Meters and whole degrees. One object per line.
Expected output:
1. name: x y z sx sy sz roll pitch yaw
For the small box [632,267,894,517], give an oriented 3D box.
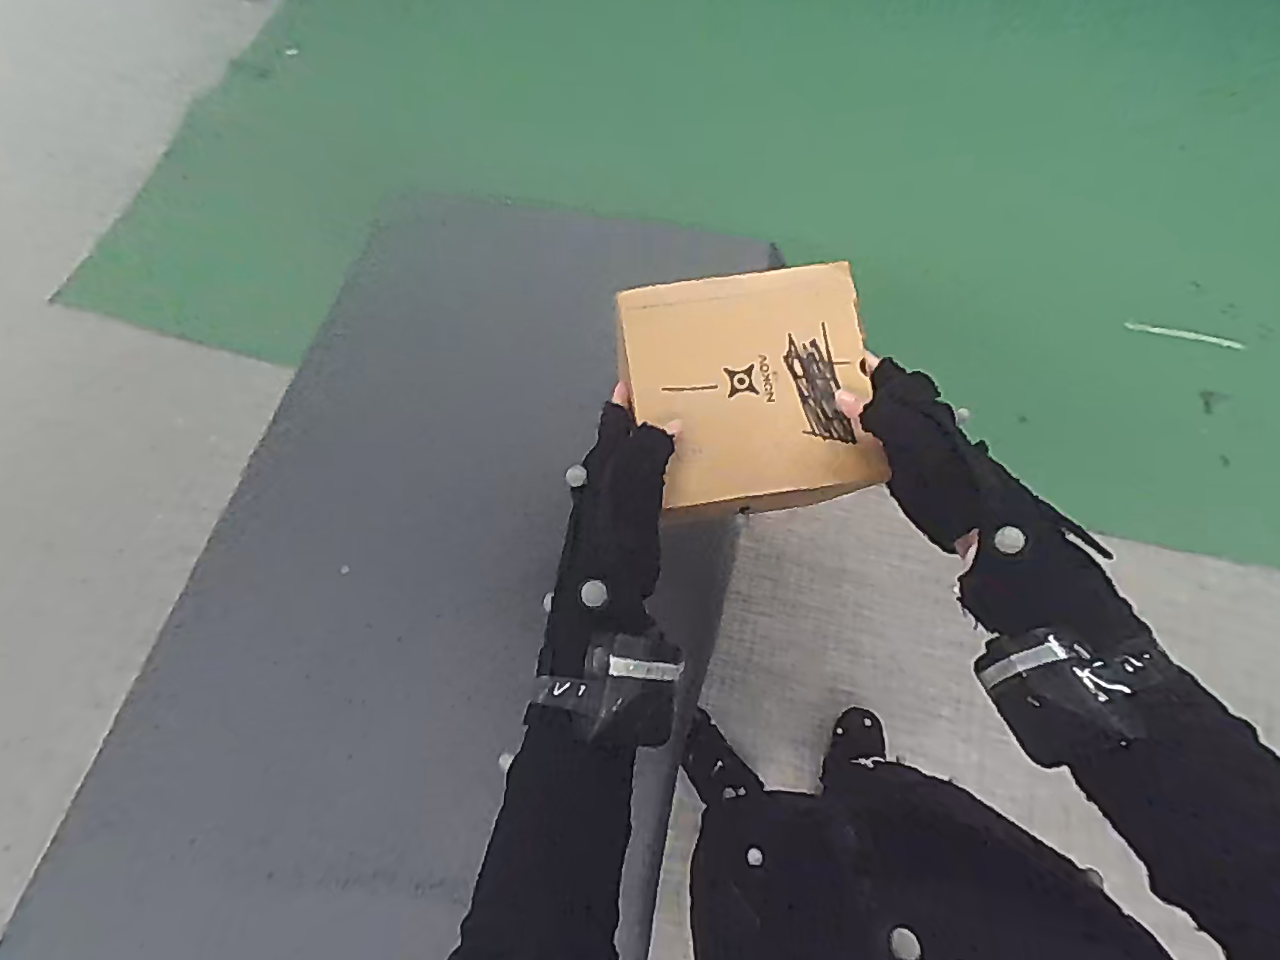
1. small box: 0.085 -0.061 0.467 0.179 0.176 0.168 -4 79 -2
